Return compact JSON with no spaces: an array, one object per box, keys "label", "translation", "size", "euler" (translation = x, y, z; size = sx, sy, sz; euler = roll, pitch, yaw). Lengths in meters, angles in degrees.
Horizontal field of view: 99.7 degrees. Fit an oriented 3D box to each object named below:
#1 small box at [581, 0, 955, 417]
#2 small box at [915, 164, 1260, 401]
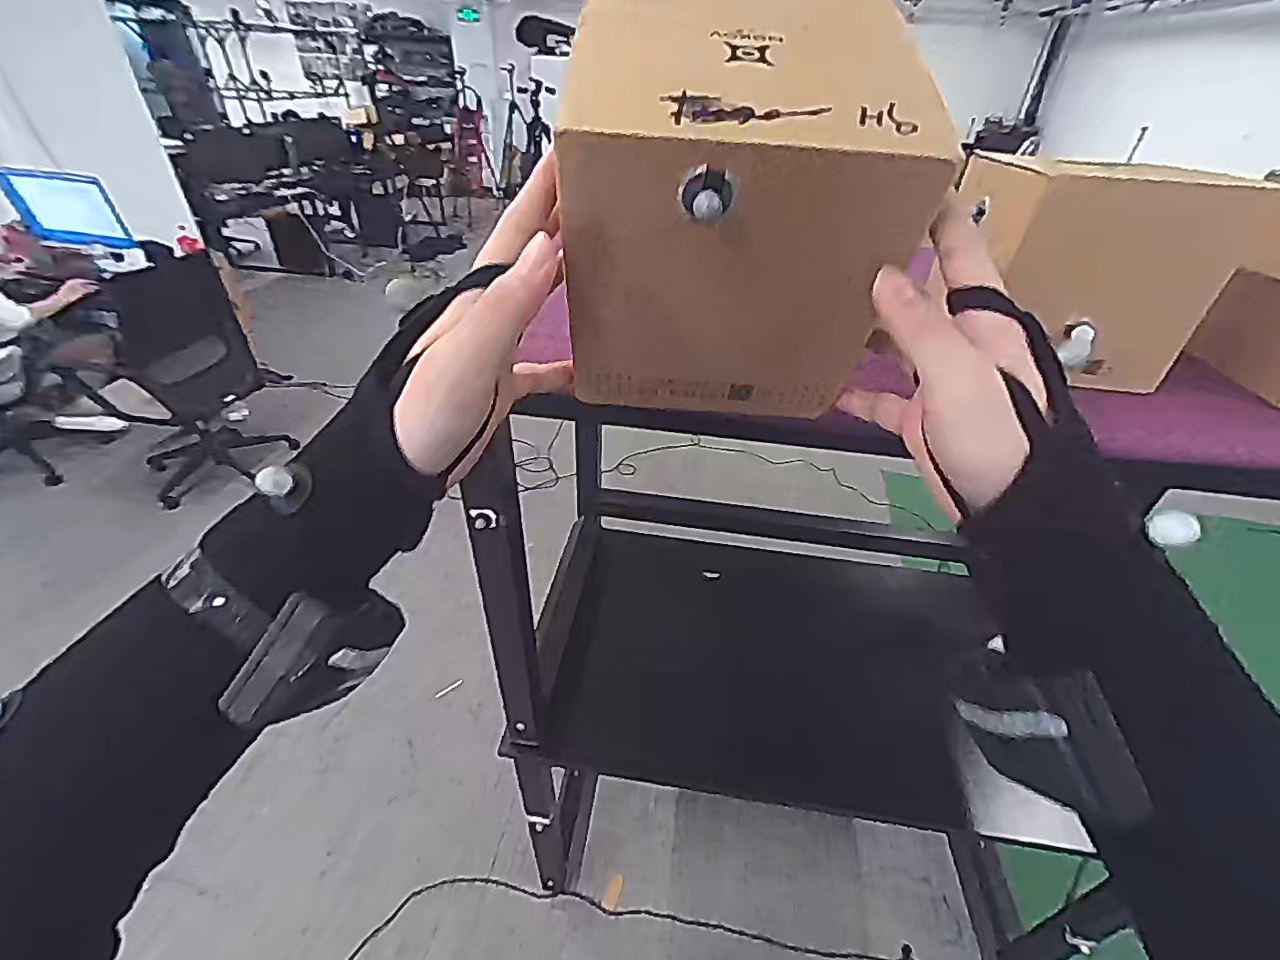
[{"label":"small box","translation":[0.055,-0.164,0.343],"size":[0.168,0.176,0.179],"euler":[4,58,-1]},{"label":"small box","translation":[0.395,-0.197,0.527],"size":[0.168,0.176,0.179],"euler":[7,36,5]}]
